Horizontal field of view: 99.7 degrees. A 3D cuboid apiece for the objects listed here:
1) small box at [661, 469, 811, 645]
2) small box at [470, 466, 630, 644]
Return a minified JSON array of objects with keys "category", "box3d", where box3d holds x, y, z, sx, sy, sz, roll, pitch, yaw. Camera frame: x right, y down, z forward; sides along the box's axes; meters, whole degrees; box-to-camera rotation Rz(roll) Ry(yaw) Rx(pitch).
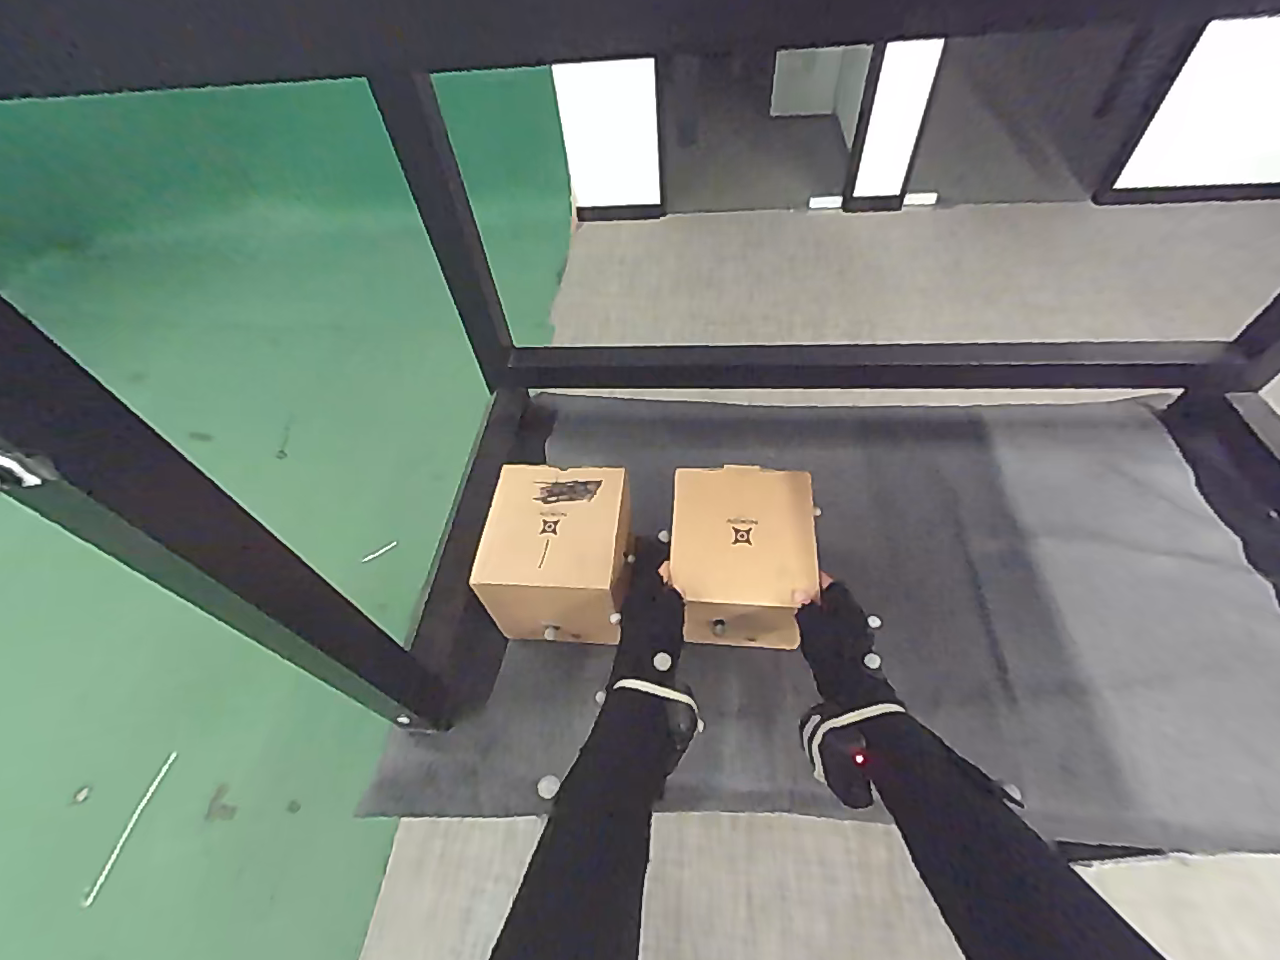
[{"category":"small box","box3d":[0.119,0.104,0.700,0.168,0.176,0.179,2,57,7]},{"category":"small box","box3d":[-0.105,0.101,0.728,0.168,0.176,0.179,2,52,6]}]
